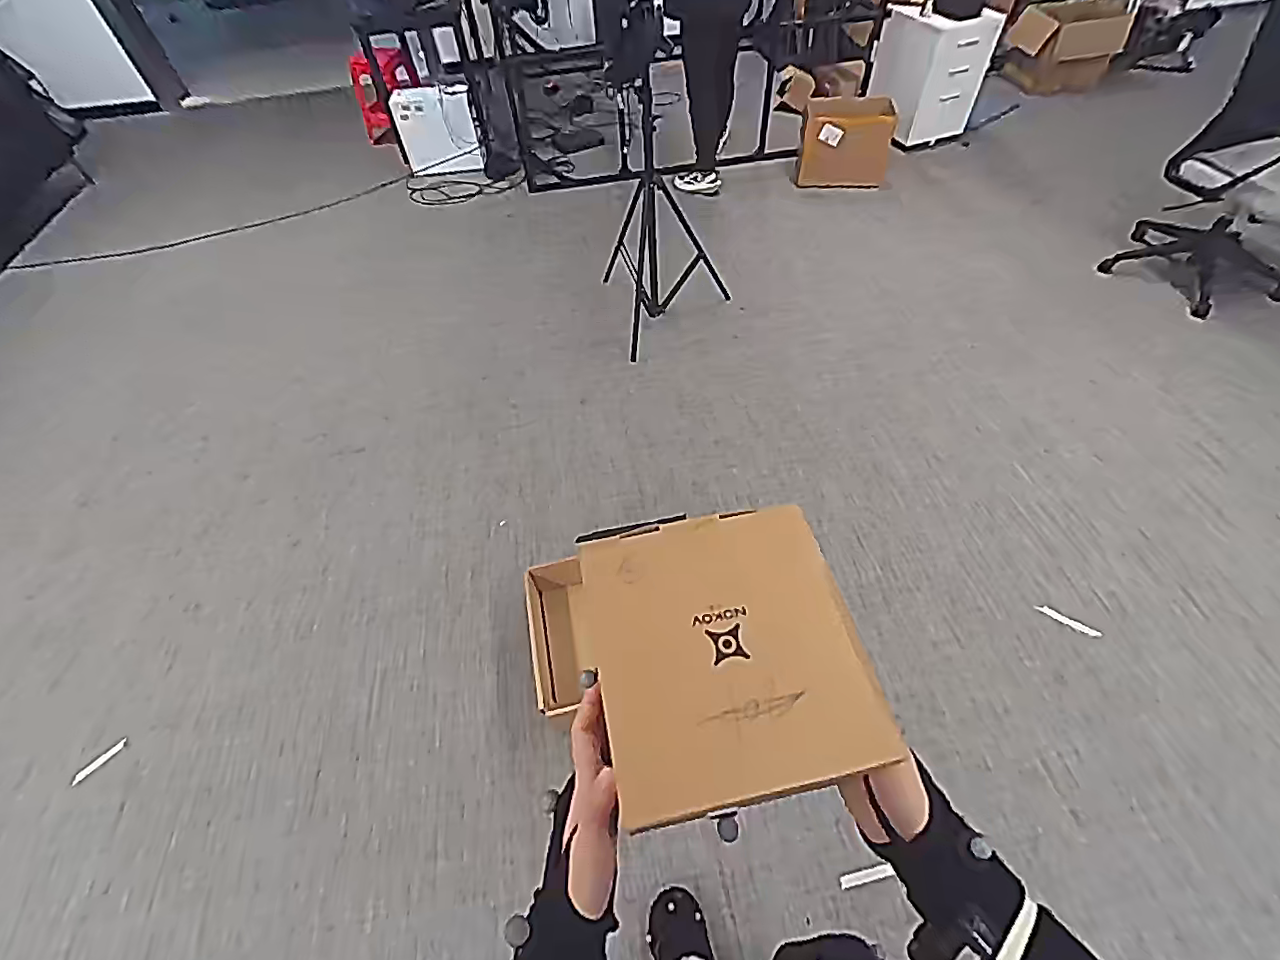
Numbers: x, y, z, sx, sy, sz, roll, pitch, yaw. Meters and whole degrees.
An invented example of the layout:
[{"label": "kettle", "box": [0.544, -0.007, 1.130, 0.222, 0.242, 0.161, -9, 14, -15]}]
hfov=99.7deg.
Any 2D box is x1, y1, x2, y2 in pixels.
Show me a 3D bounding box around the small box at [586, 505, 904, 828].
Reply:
[{"label": "small box", "box": [0.055, 0.145, 0.411, 0.168, 0.176, 0.179, -10, 57, -6]}]
